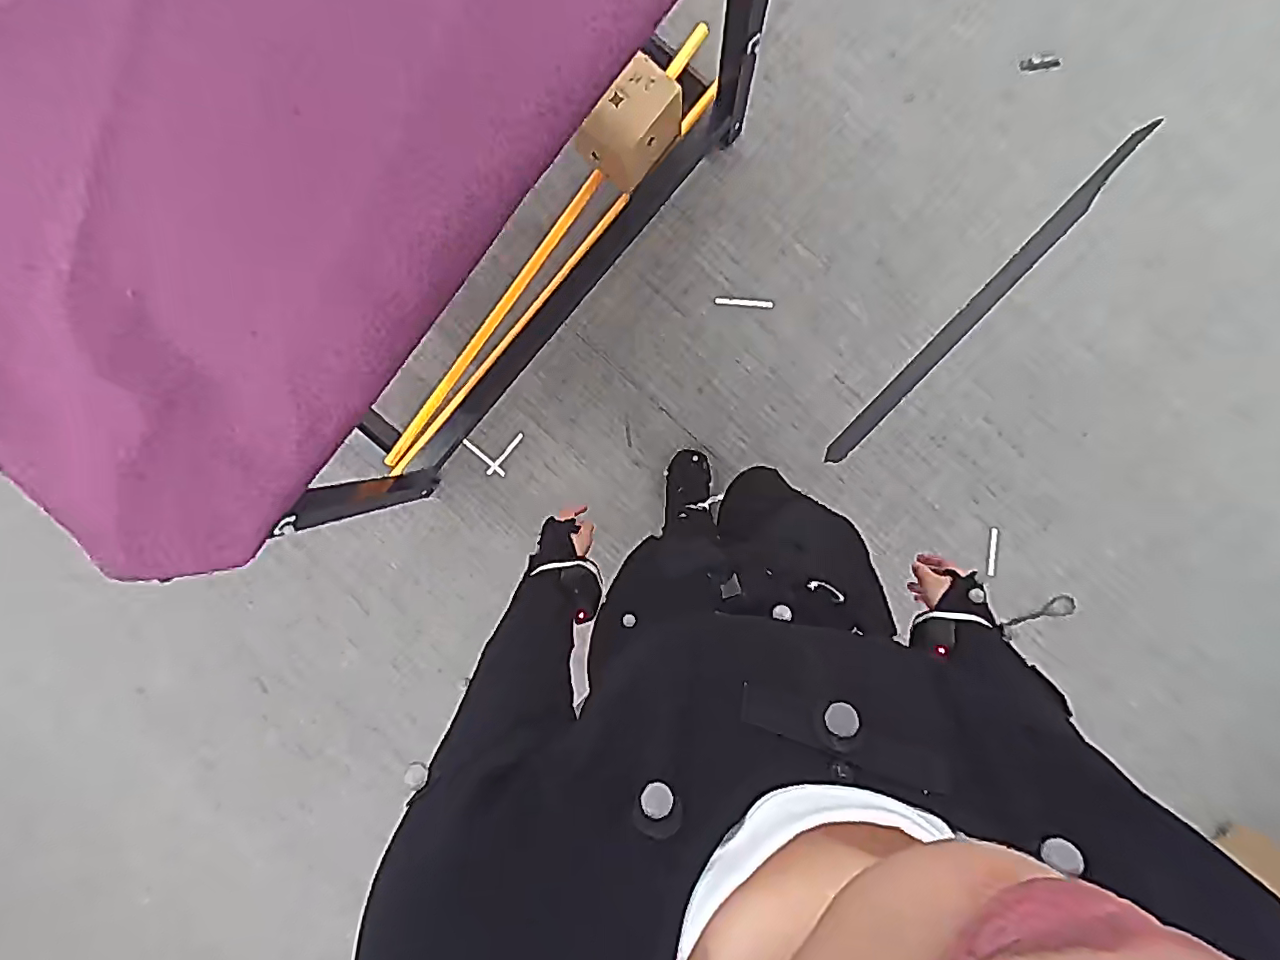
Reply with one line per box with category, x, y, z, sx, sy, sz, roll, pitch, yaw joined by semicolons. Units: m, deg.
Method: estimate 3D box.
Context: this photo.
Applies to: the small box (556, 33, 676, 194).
small box;-0.040;-0.729;1.101;0.168;0.176;0.179;40;97;-2
